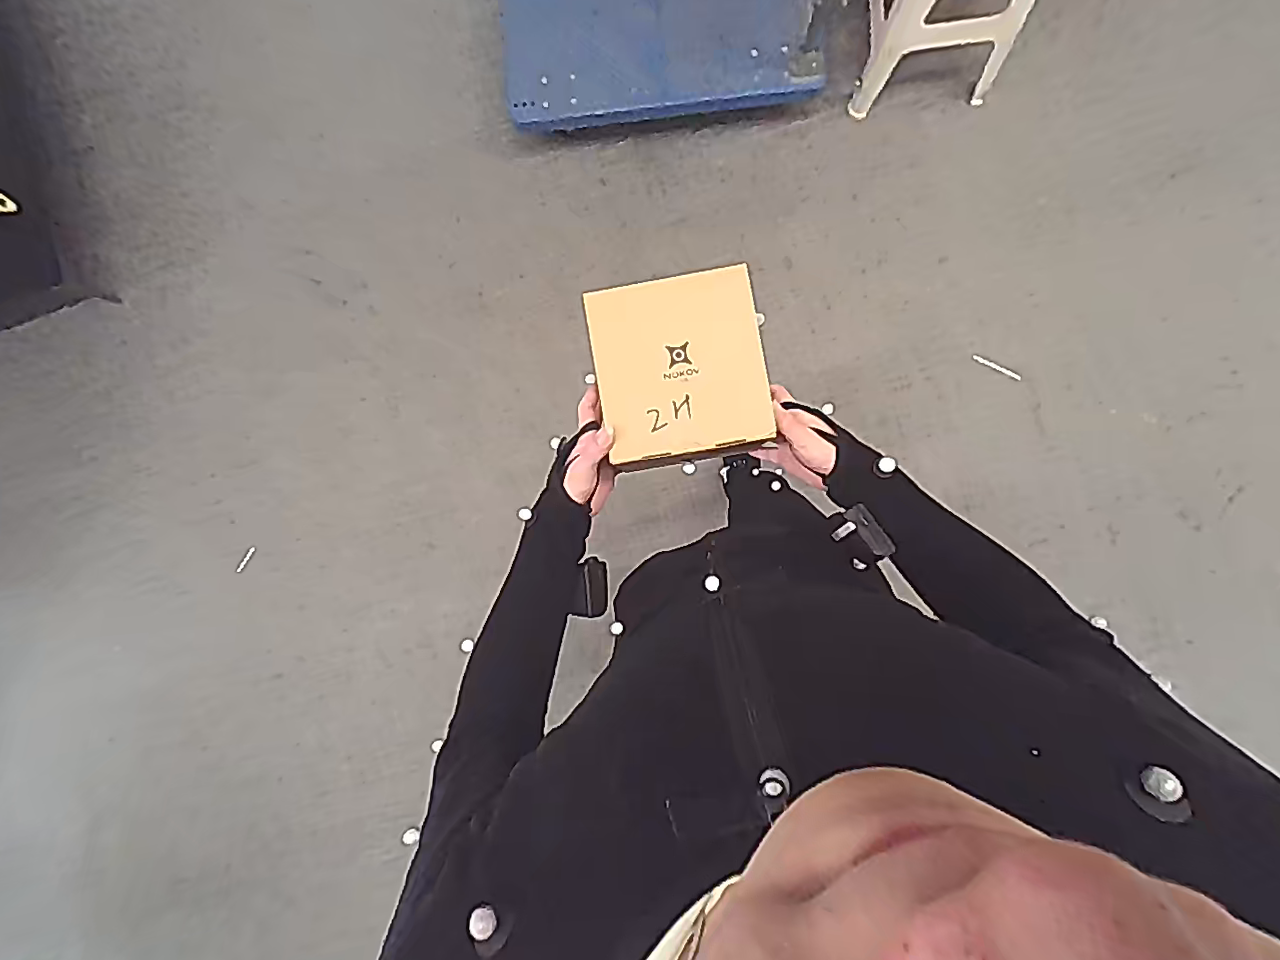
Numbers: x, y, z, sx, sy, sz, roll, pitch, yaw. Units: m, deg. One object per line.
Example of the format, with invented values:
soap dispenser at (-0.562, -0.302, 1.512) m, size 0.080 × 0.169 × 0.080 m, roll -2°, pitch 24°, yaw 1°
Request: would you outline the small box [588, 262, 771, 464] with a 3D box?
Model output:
small box at (0.040, -0.119, 0.618) m, size 0.168 × 0.176 × 0.179 m, roll -9°, pitch 88°, yaw 2°
